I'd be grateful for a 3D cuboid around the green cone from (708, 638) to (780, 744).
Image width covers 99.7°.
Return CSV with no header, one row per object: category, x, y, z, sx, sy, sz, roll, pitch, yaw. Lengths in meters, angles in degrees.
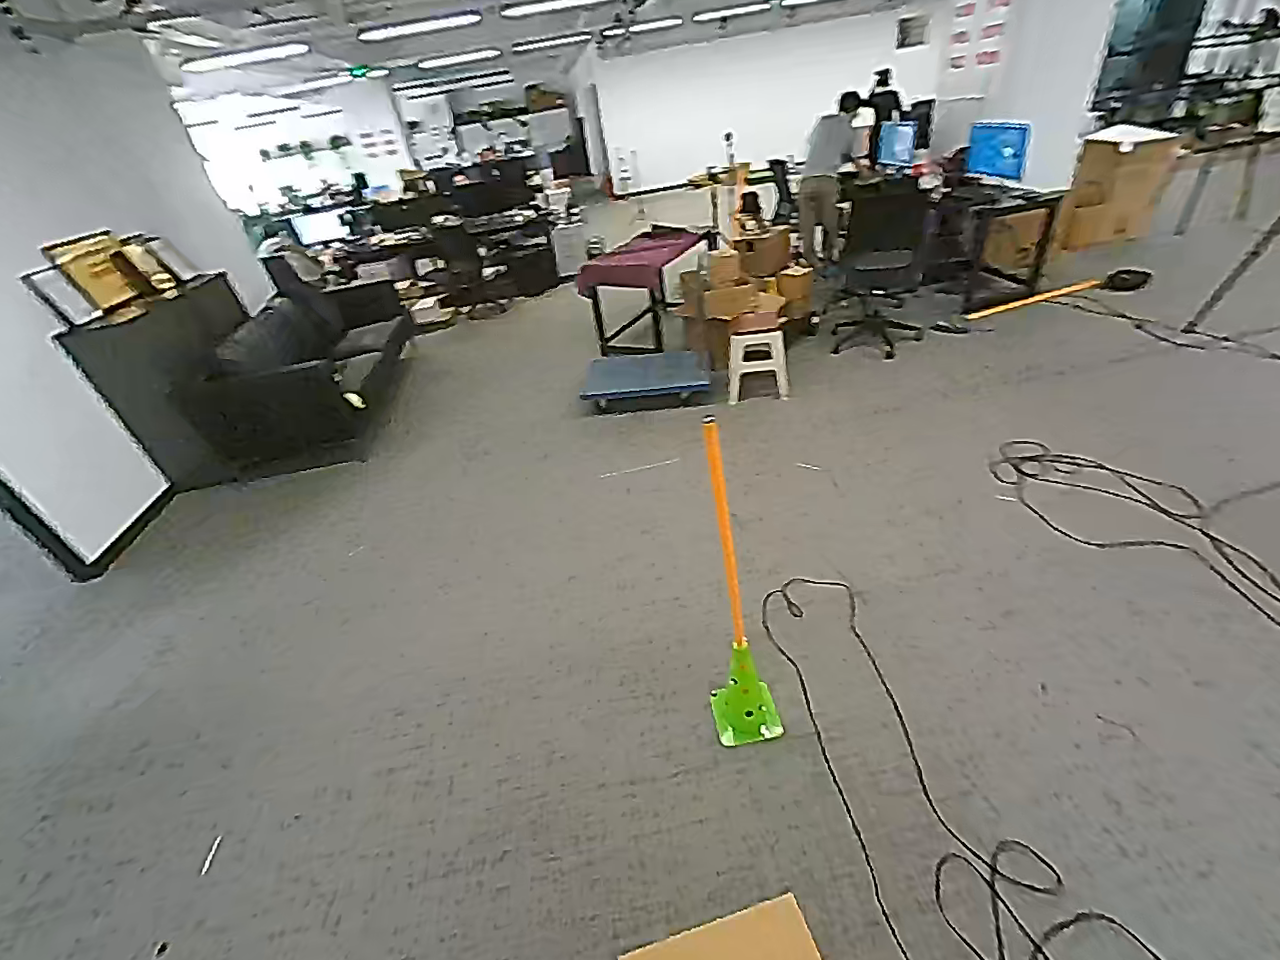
green cone,0.319,0.626,1.685,0.202,0.368,0.200,-10,35,-2
